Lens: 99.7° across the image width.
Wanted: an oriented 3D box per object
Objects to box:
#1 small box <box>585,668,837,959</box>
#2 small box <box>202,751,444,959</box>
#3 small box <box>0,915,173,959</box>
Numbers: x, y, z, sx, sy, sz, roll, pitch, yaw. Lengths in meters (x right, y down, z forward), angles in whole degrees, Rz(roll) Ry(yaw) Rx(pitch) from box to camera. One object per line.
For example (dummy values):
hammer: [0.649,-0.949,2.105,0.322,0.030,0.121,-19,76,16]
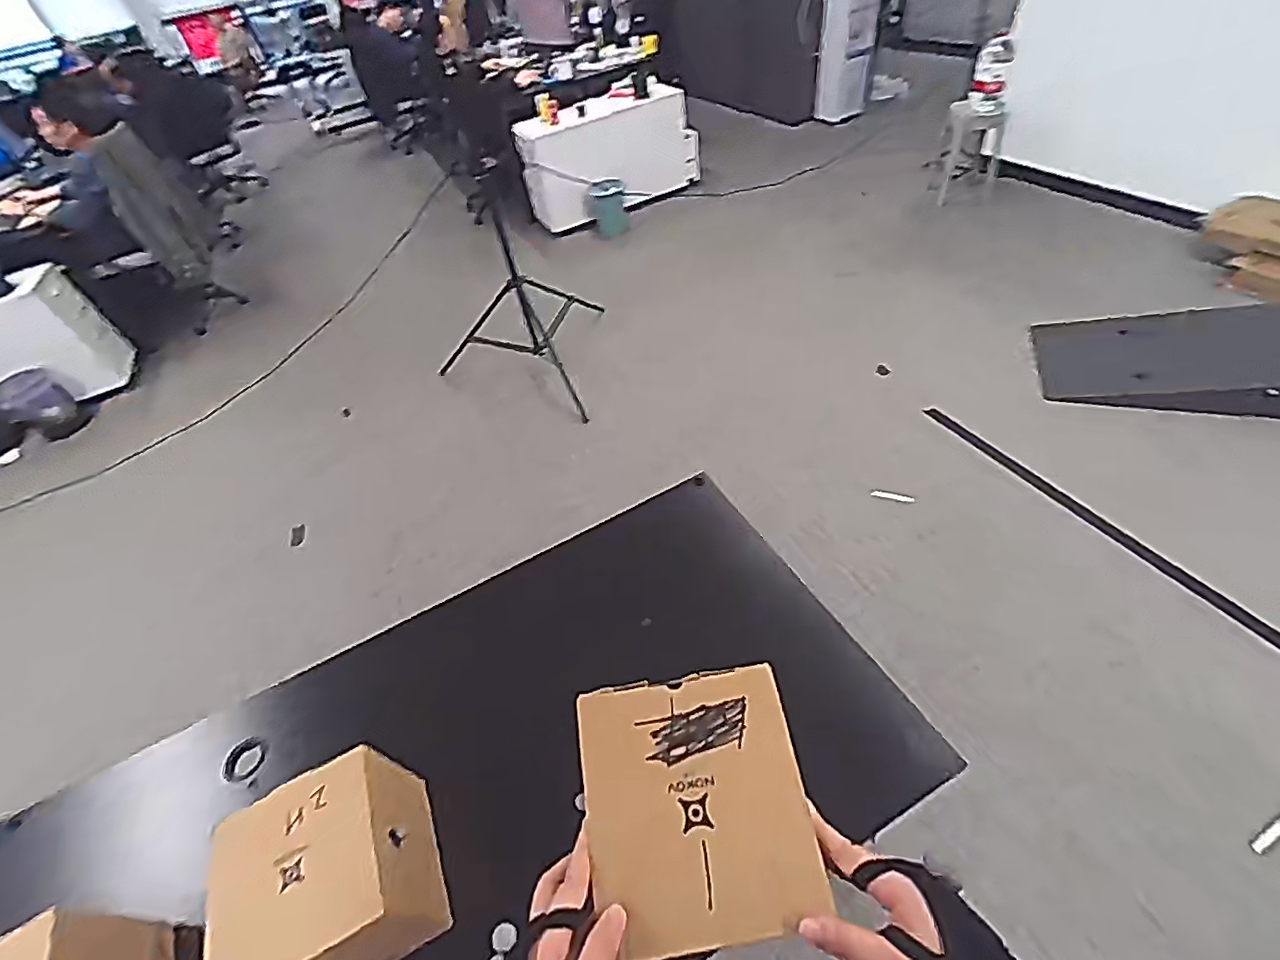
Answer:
small box: [0.045,0.281,0.472,0.168,0.176,0.179,-7,59,-2]
small box: [-0.340,0.446,0.603,0.168,0.176,0.179,-25,48,-13]
small box: [-0.608,0.581,0.533,0.168,0.176,0.179,-29,48,-18]
